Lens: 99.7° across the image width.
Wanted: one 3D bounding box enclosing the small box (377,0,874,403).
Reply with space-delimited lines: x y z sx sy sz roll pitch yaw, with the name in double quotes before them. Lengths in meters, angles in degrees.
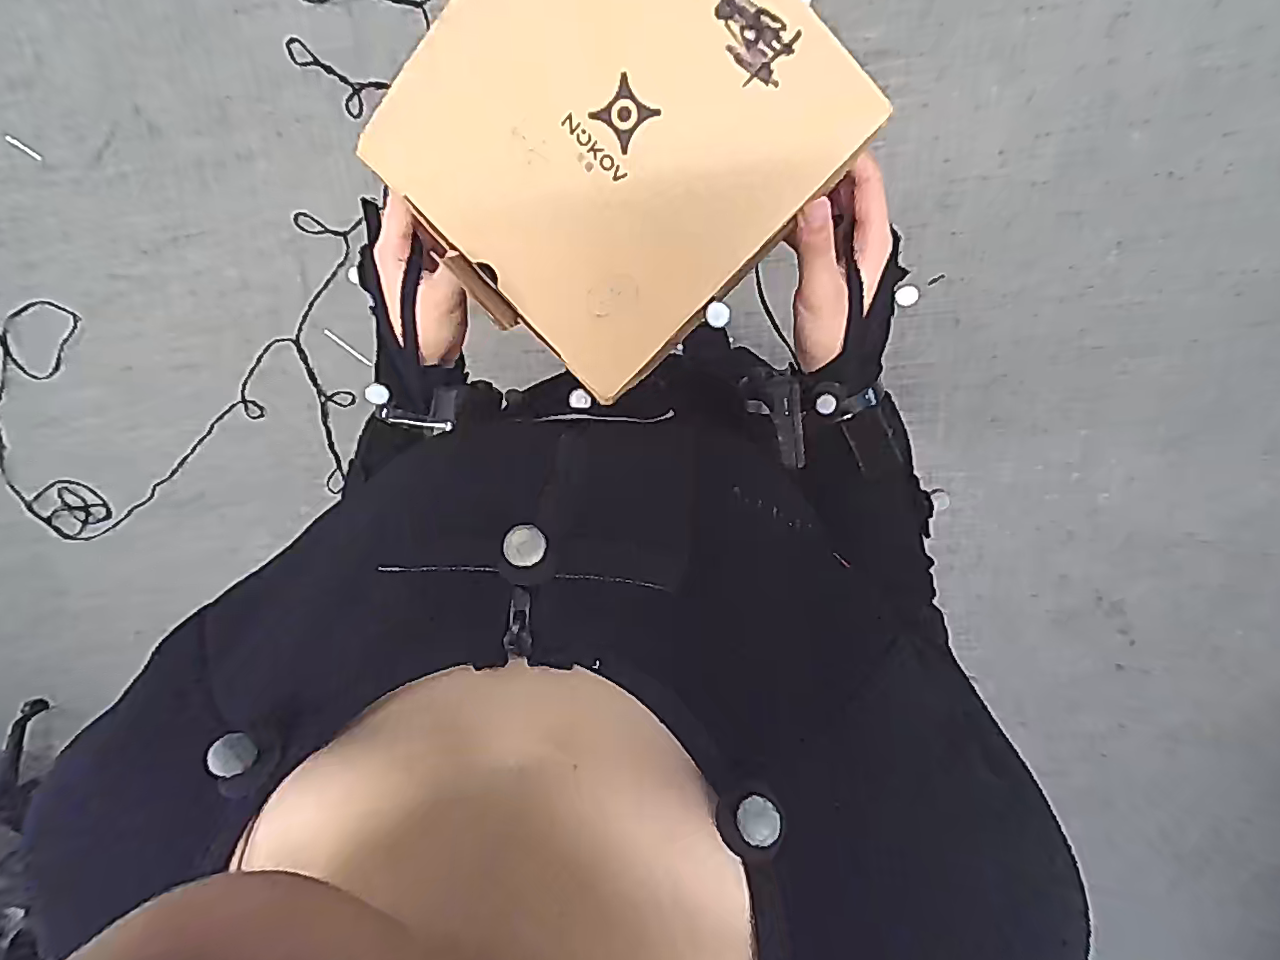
"small box" -0.003 -0.171 0.323 0.168 0.176 0.179 45 106 -6
